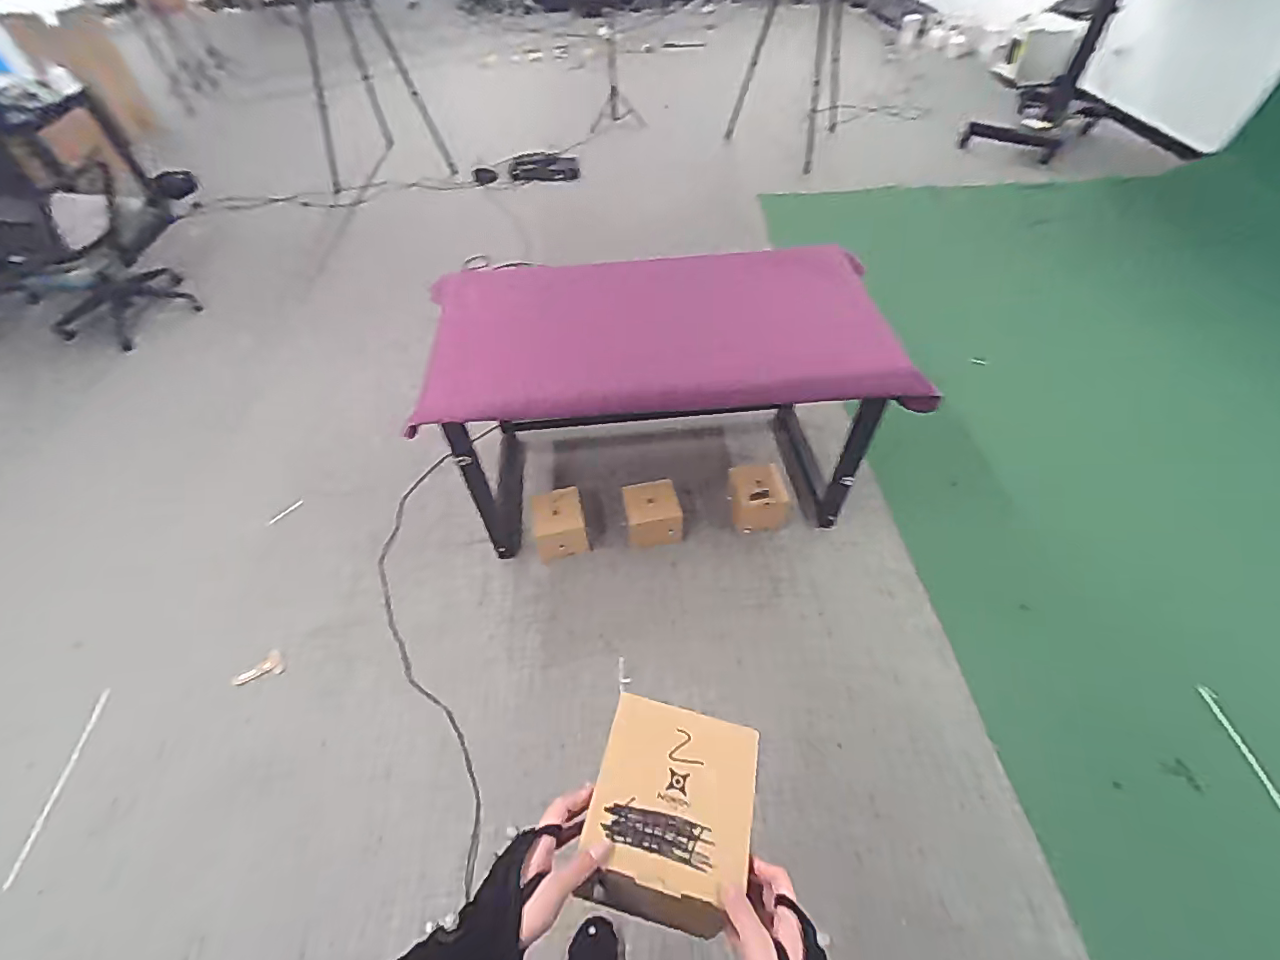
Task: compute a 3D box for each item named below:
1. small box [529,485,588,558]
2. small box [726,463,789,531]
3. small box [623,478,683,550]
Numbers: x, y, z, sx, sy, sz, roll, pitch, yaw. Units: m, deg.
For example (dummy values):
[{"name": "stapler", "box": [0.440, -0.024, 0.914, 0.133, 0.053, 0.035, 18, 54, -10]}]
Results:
[{"name": "small box", "box": [-0.275, 0.148, 1.834, 0.168, 0.176, 0.179, -11, 51, -8]}, {"name": "small box", "box": [0.405, 0.066, 1.885, 0.168, 0.176, 0.179, -6, 50, -4]}, {"name": "small box", "box": [0.041, 0.118, 1.853, 0.179, 0.176, 0.168, -10, 51, -6]}]
